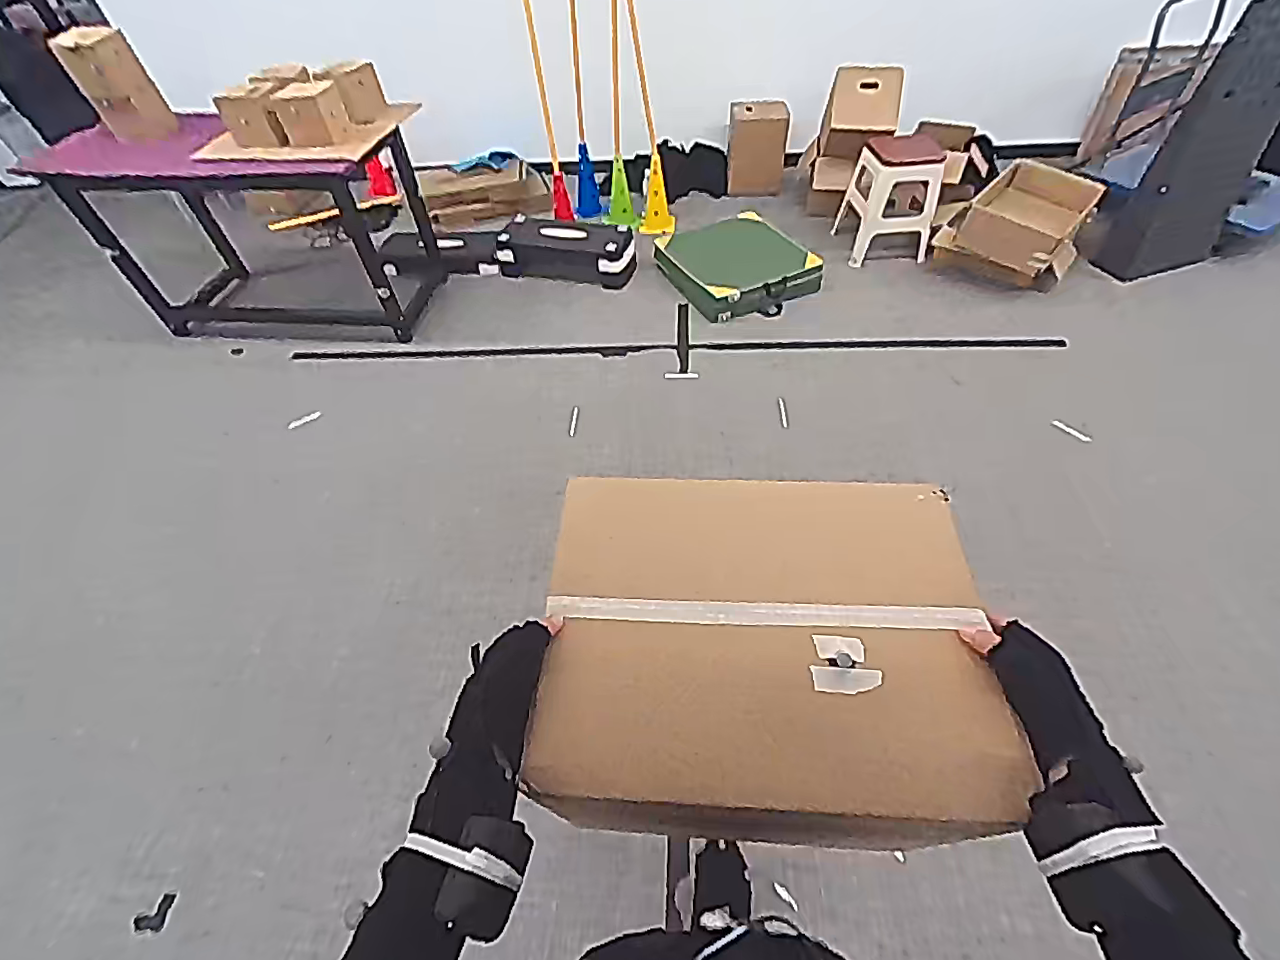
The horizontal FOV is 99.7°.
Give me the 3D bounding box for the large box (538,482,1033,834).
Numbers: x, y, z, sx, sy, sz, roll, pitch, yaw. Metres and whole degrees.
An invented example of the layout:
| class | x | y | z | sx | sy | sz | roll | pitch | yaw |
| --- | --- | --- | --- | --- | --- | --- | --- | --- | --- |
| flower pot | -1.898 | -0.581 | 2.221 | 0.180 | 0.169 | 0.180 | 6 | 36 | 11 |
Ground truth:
| class | x | y | z | sx | sy | sz | roll | pitch | yaw |
| --- | --- | --- | --- | --- | --- | --- | --- | --- | --- |
| large box | 0.123 | 0.217 | 0.639 | 0.408 | 0.320 | 0.320 | 1 | 54 | 4 |
